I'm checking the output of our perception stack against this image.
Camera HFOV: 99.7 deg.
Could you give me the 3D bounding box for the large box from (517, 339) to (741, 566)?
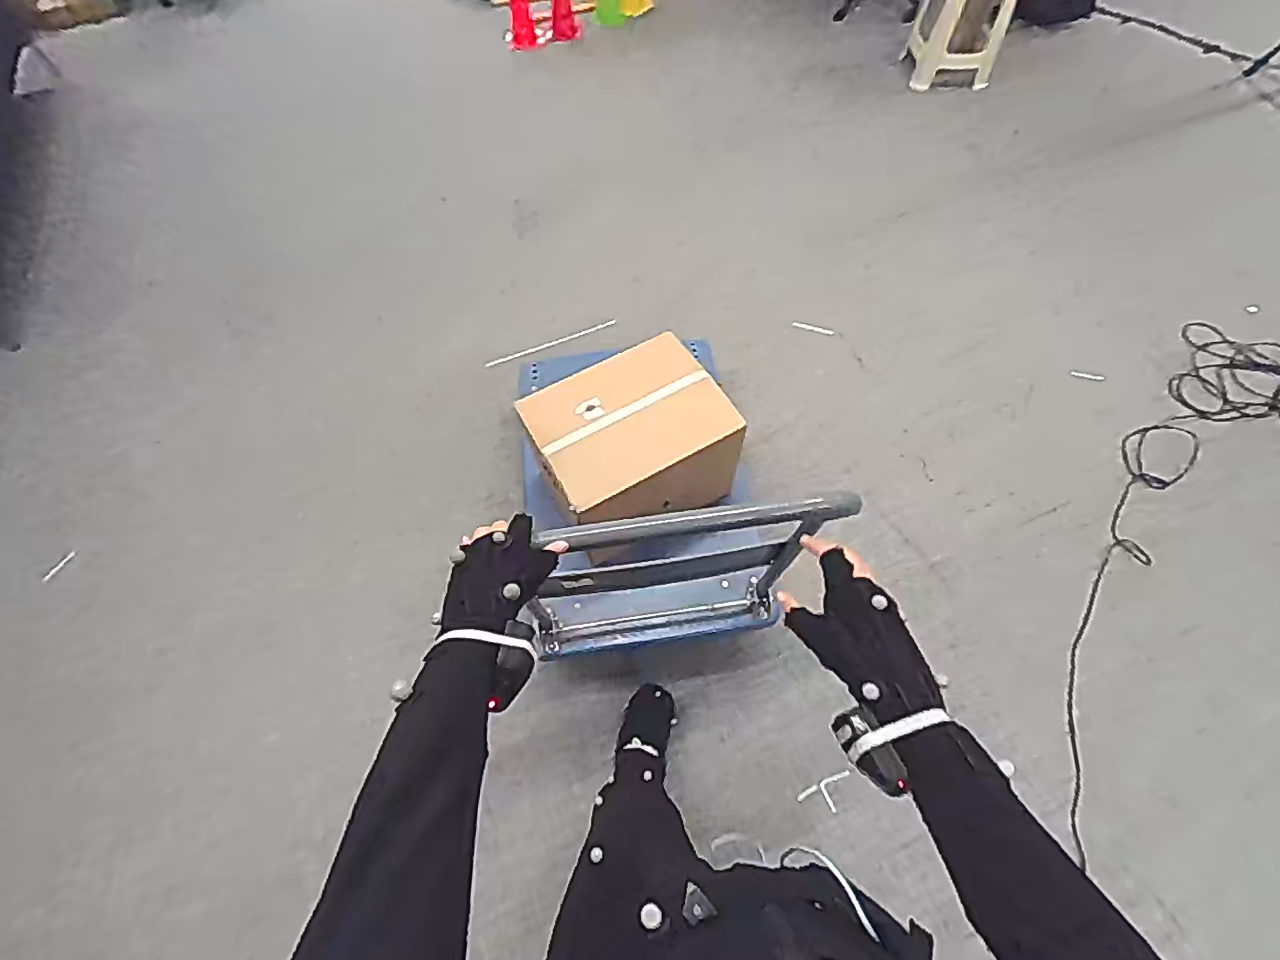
[{"bbox_3d":[-0.019,-0.059,1.300,0.408,0.320,0.320,-30,63,-12],"label":"large box"}]
